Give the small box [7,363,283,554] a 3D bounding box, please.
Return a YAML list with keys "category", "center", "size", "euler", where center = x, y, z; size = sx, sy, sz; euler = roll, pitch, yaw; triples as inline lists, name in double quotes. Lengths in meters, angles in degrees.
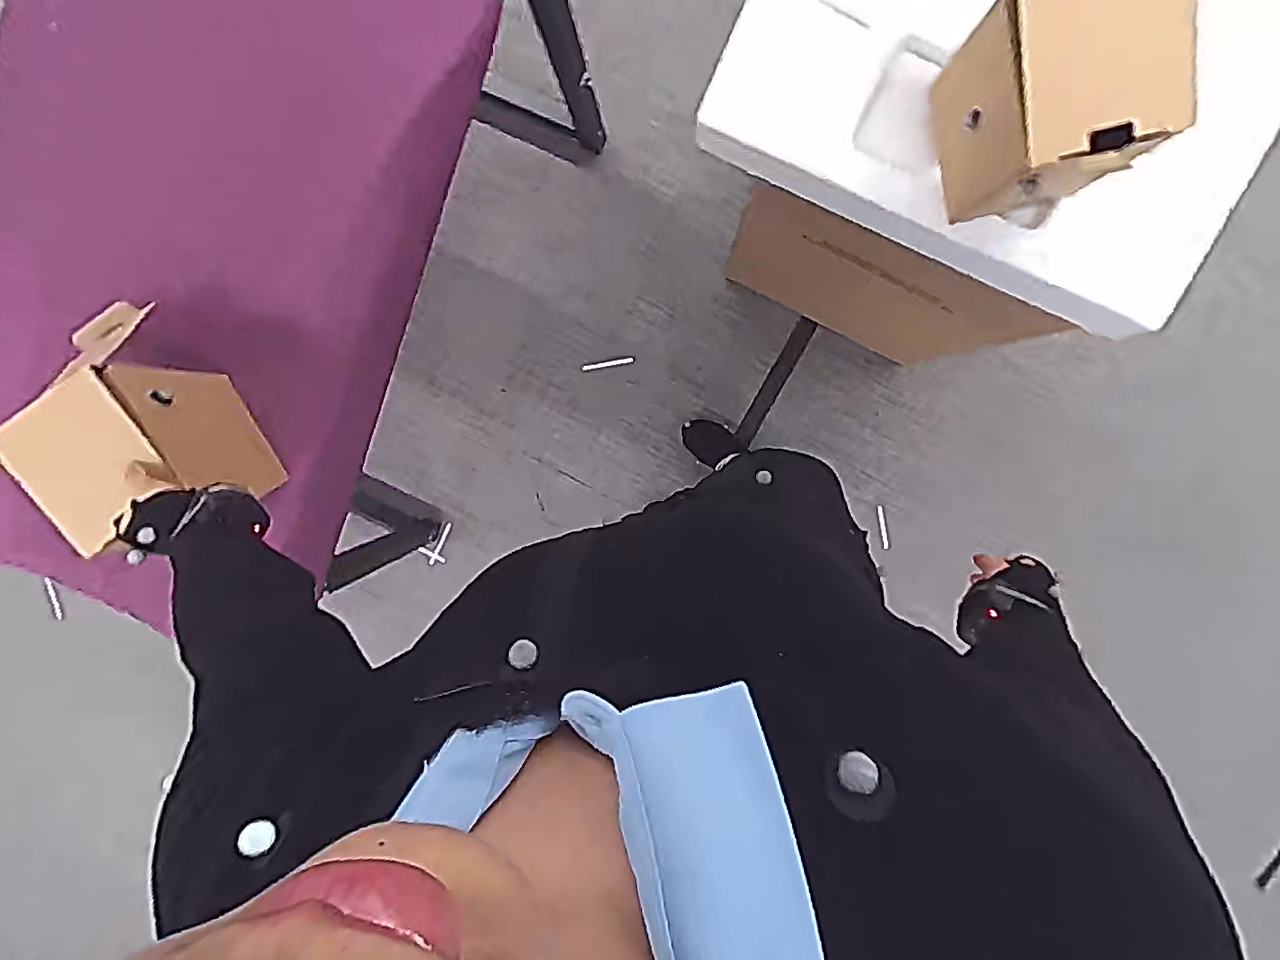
- category: "small box"
  center: [-0.630, -0.030, 0.712]
  size: [0.168, 0.176, 0.179]
  euler: [-30, 92, 8]
